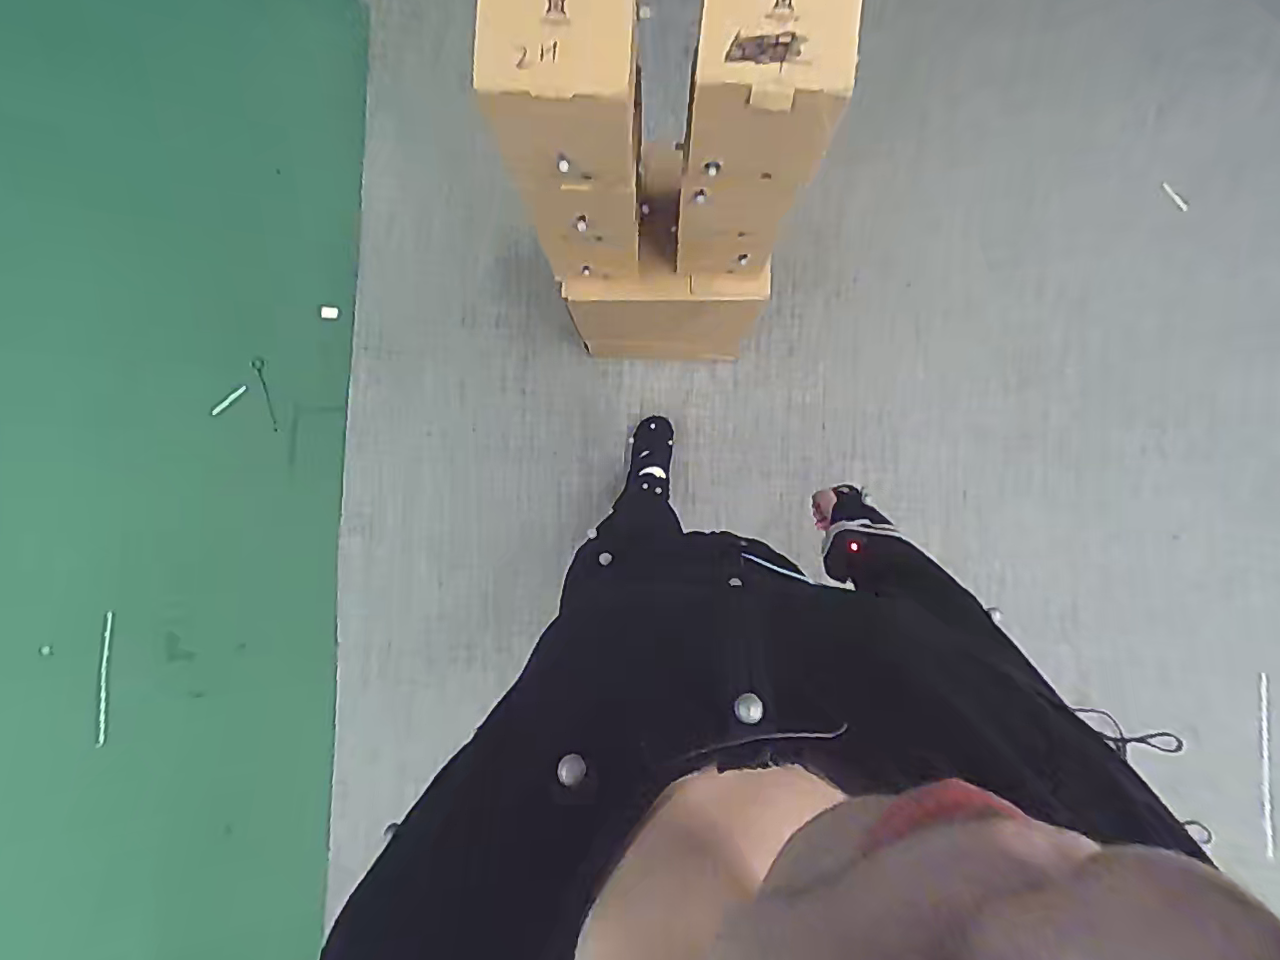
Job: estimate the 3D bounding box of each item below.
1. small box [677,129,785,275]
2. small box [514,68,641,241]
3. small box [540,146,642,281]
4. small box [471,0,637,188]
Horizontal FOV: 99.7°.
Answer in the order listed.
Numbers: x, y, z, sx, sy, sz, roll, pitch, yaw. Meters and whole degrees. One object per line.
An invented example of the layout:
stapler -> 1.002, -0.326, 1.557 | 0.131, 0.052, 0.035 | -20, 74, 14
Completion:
small box -> 0.155, -0.486, 0.970 | 0.168, 0.176, 0.179 | 5, 88, 2
small box -> -0.085, -0.480, 0.813 | 0.168, 0.176, 0.179 | 3, 90, 0
small box -> -0.082, -0.481, 0.977 | 0.168, 0.176, 0.179 | 2, 89, 0
small box -> -0.091, -0.486, 0.647 | 0.168, 0.176, 0.179 | 3, 89, 1
